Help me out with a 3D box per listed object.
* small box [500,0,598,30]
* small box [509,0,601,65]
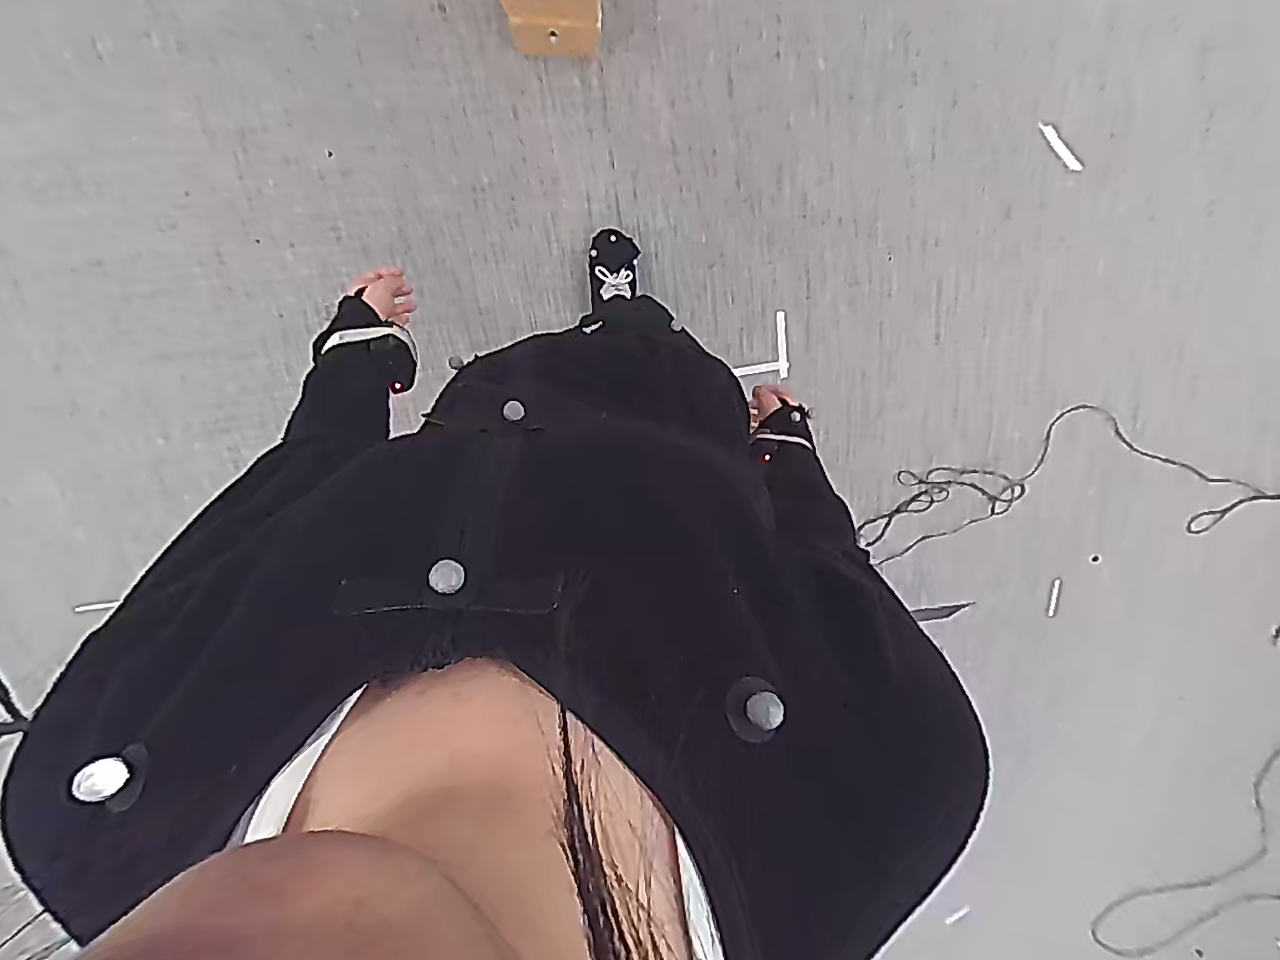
[{"bbox_3d":[-0.160,-0.913,0.932,0.179,0.176,0.168,3,111,-5],"label":"small box"},{"bbox_3d":[-0.169,-0.963,1.088,0.179,0.176,0.168,-1,111,-3],"label":"small box"}]
